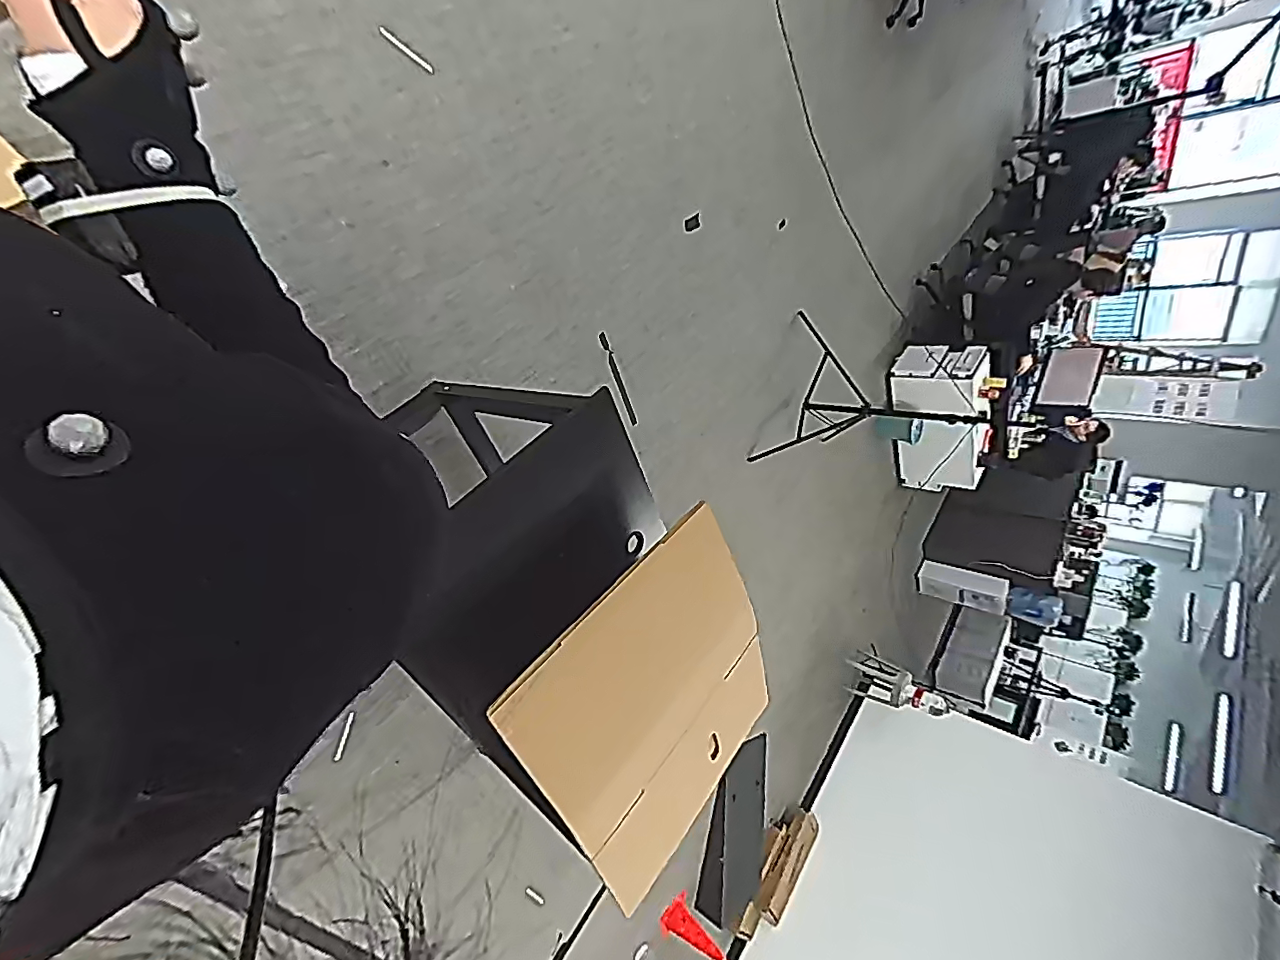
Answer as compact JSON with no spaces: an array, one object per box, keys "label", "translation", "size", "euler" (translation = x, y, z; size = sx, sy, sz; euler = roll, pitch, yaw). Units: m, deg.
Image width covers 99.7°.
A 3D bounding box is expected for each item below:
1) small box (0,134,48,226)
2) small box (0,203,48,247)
[{"label":"small box","translation":[-0.994,-0.438,0.752],"size":[0.179,0.176,0.168],"euler":[-53,134,-26]},{"label":"small box","translation":[-1.115,-0.458,0.858],"size":[0.179,0.176,0.168],"euler":[-49,131,-27]}]
